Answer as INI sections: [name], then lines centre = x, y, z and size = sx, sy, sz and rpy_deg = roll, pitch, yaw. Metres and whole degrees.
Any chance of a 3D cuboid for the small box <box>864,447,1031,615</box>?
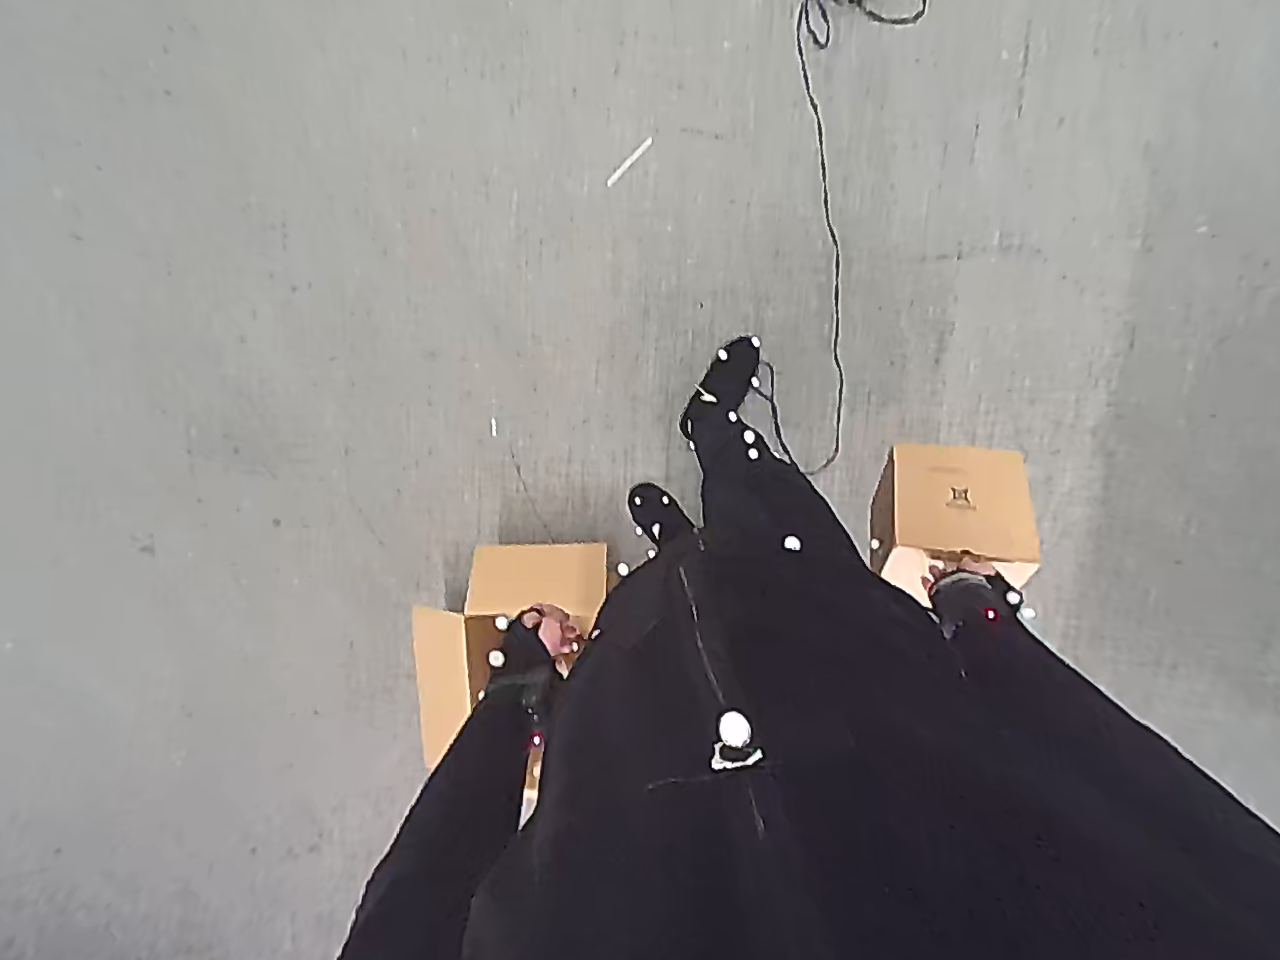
[small box]
centre = 0.429, 0.076, 0.786
size = 0.168, 0.176, 0.179
rpy_deg = 7, 54, 14
